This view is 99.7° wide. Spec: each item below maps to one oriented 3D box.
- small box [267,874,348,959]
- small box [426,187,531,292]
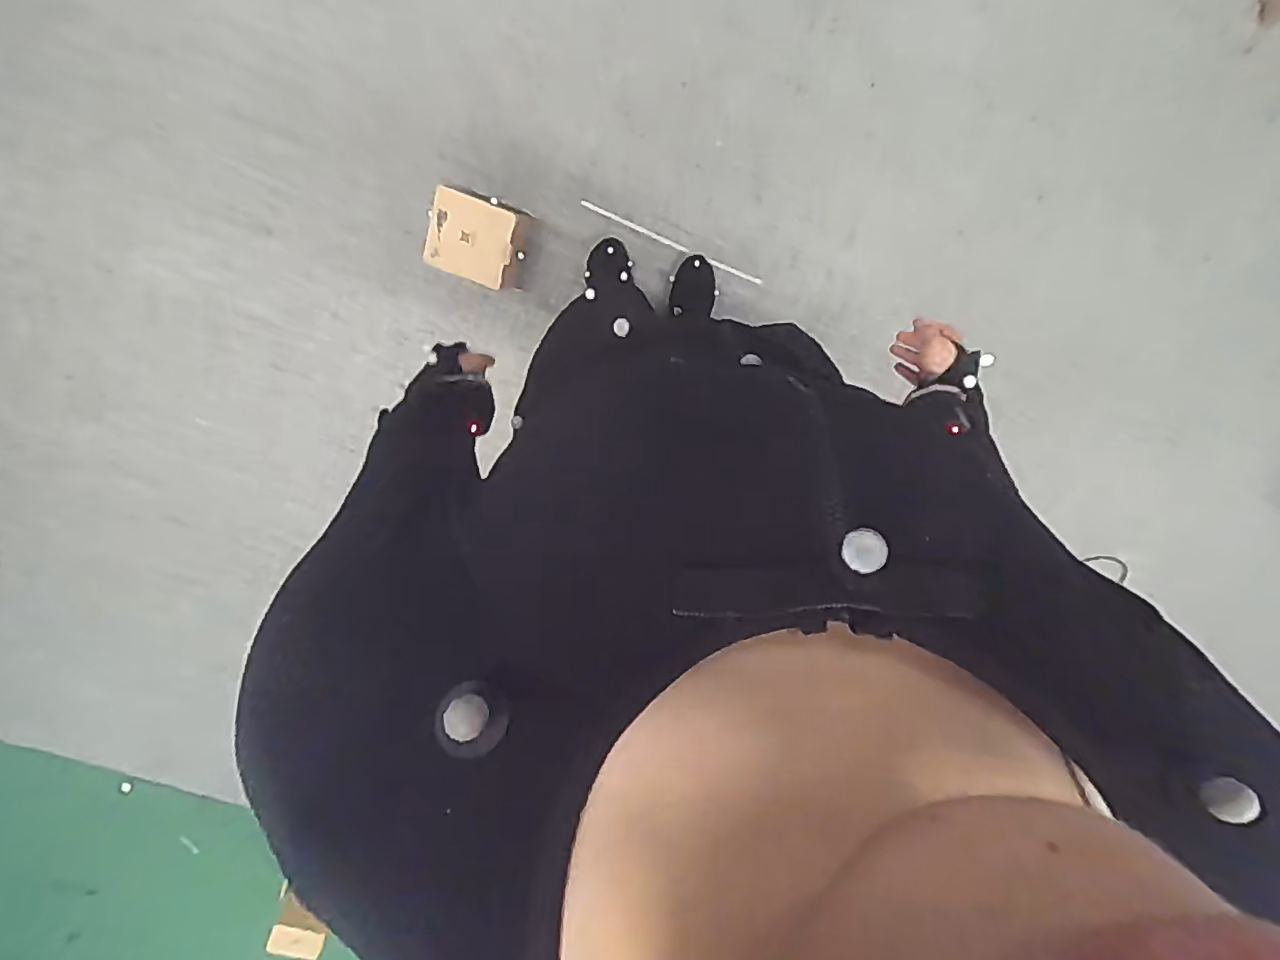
[{"bbox_3d":[-1.176,1.549,1.924,0.179,0.176,0.168,22,109,-9],"label":"small box"},{"bbox_3d":[-0.364,-0.554,1.248,0.179,0.176,0.168,19,112,-8],"label":"small box"}]
